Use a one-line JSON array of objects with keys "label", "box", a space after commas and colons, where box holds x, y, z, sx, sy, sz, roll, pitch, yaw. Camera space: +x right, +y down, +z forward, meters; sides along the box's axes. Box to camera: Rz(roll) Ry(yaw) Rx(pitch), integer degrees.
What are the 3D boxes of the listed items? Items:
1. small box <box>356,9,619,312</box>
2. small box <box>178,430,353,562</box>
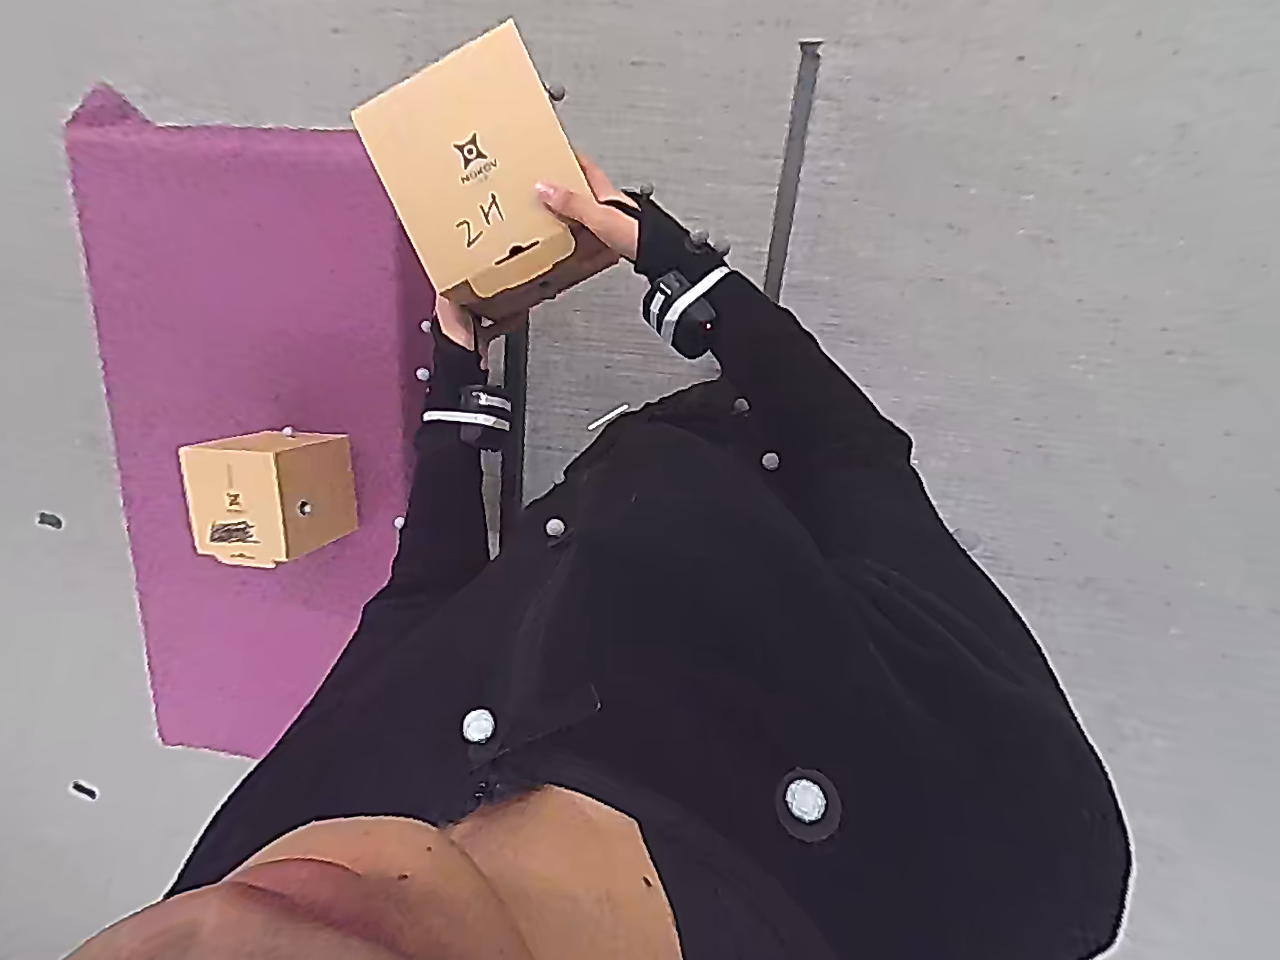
[{"label": "small box", "box": [-0.133, -0.292, 0.542, 0.168, 0.176, 0.179, -24, 96, 7]}, {"label": "small box", "box": [-0.608, 0.019, 0.903, 0.168, 0.176, 0.179, 3, 104, 9]}]
